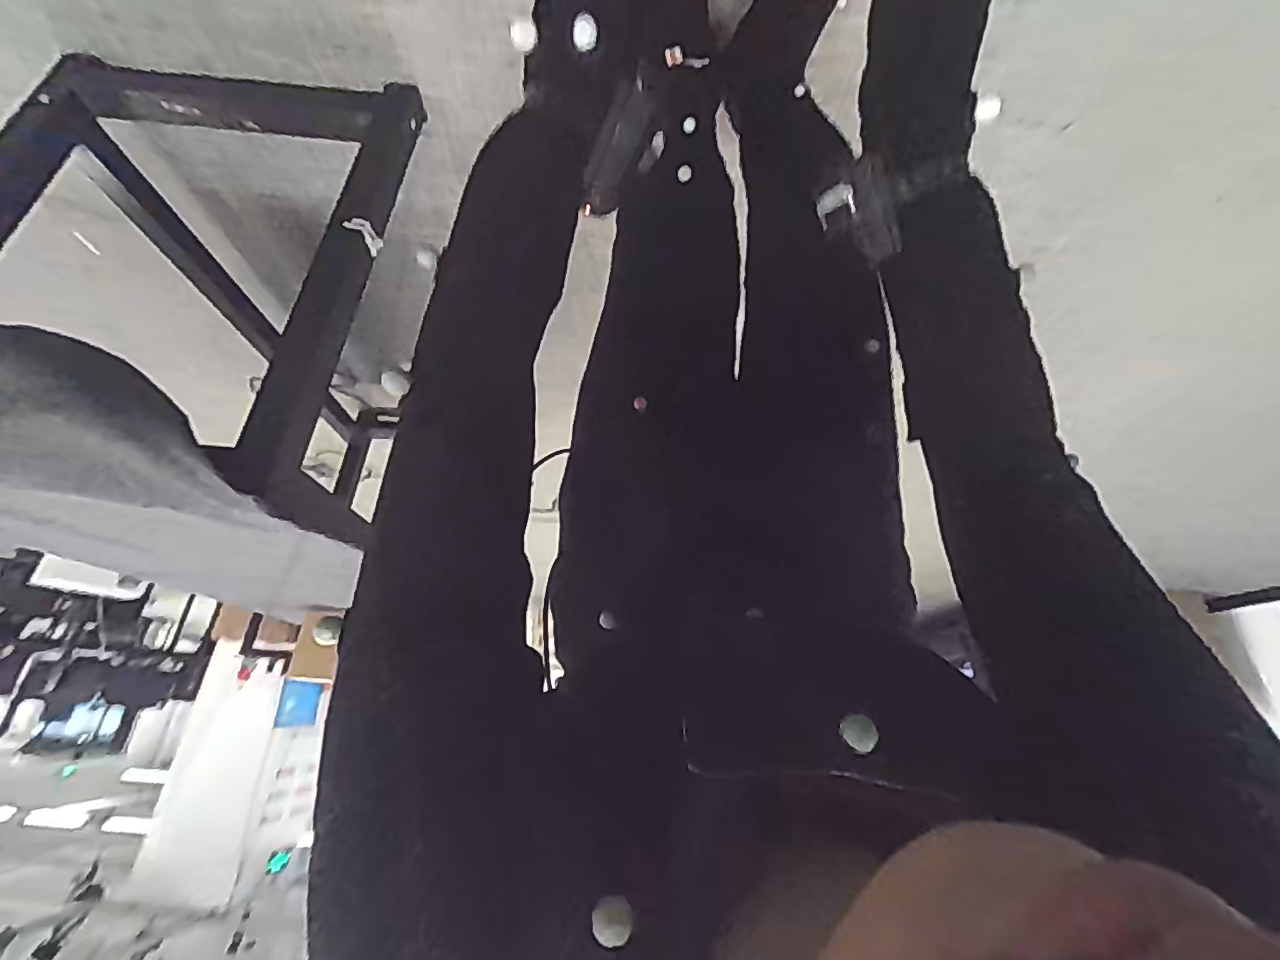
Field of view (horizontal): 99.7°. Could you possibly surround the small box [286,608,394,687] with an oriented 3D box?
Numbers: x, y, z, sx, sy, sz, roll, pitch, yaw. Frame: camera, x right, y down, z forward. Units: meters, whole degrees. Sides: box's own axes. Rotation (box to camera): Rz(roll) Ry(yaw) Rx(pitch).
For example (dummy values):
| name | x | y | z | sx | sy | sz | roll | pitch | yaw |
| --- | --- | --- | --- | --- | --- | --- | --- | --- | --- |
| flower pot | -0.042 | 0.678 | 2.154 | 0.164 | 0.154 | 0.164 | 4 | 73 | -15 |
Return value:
| name | x | y | z | sx | sy | sz | roll | pitch | yaw |
| --- | --- | --- | --- | --- | --- | --- | --- | --- | --- |
| small box | -0.773 | 0.443 | 1.417 | 0.168 | 0.176 | 0.179 | 3 | 155 | 2 |
